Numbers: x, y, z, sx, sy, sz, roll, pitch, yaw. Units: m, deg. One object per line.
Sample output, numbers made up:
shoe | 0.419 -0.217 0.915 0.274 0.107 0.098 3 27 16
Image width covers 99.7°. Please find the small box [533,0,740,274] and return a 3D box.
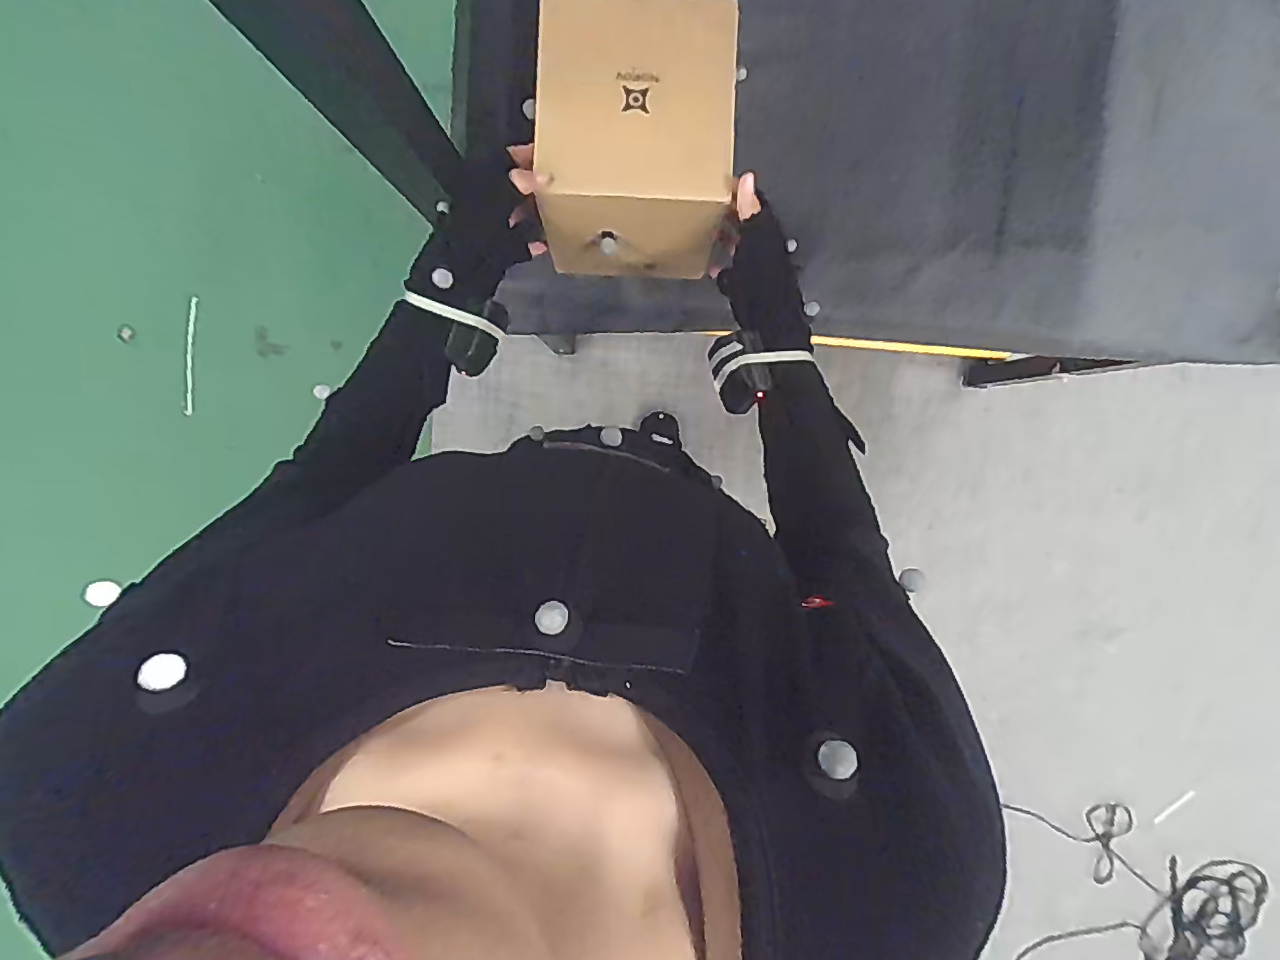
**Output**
small box | -0.004 -0.316 0.522 0.168 0.176 0.179 2 88 -2
